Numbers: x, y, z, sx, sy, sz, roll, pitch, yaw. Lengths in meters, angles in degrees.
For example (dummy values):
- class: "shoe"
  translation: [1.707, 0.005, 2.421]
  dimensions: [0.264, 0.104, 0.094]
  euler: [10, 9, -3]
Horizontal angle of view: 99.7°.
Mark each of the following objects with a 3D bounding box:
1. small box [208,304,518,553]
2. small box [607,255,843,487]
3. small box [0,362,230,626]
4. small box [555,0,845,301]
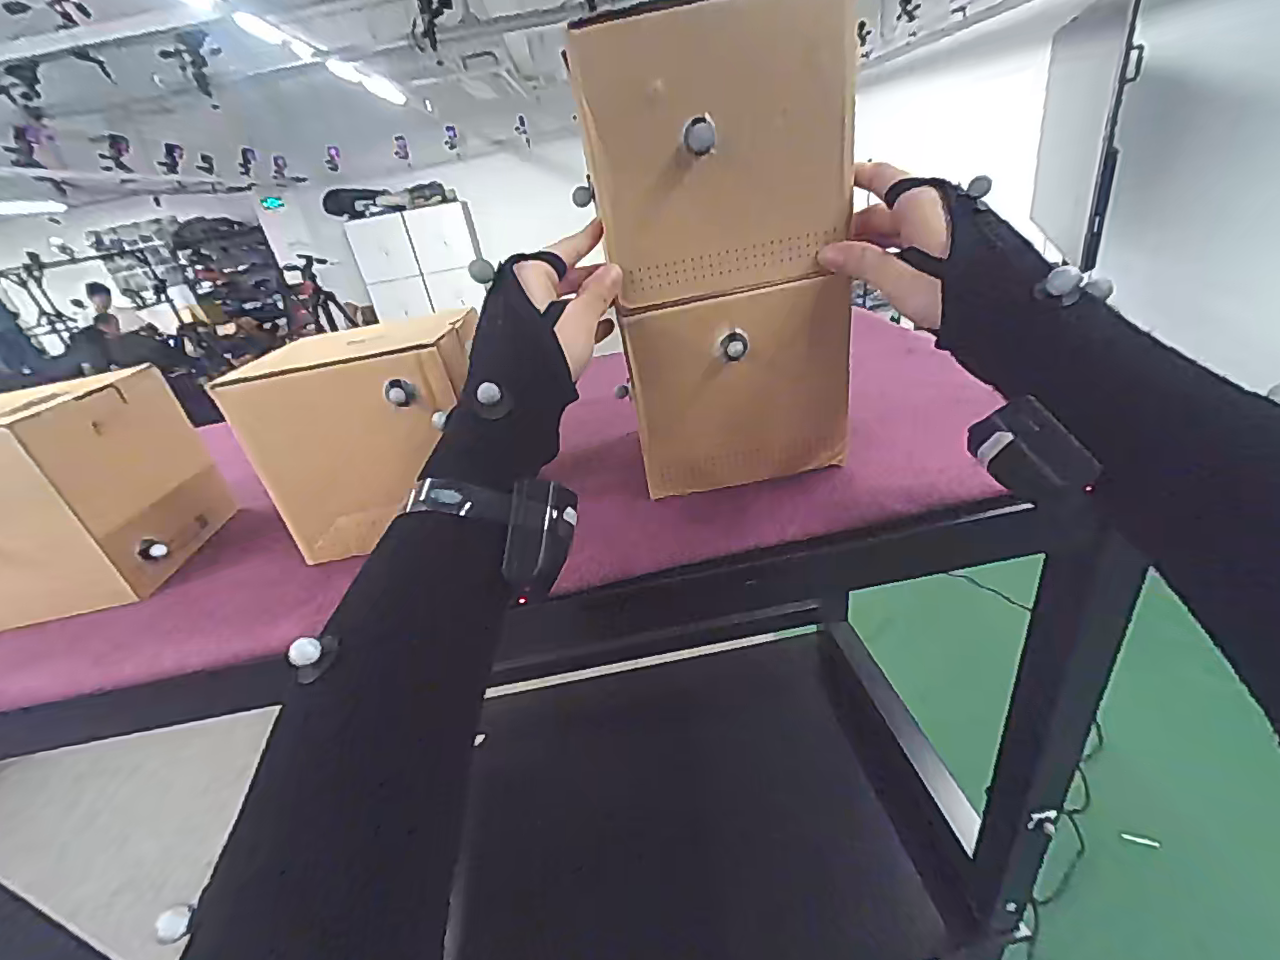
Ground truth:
- class: "small box"
  translation: [-0.228, -0.051, 0.503]
  dimensions: [0.179, 0.176, 0.168]
  euler: [-11, 28, -1]
- class: "small box"
  translation: [0.073, -0.110, 0.497]
  dimensions: [0.179, 0.176, 0.168]
  euler: [-11, 31, 2]
- class: "small box"
  translation: [-0.531, 0.012, 0.490]
  dimensions: [0.179, 0.176, 0.168]
  euler: [-13, 28, -2]
- class: "small box"
  translation: [0.044, -0.249, 0.417]
  dimensions: [0.179, 0.176, 0.168]
  euler: [-13, 31, 1]
